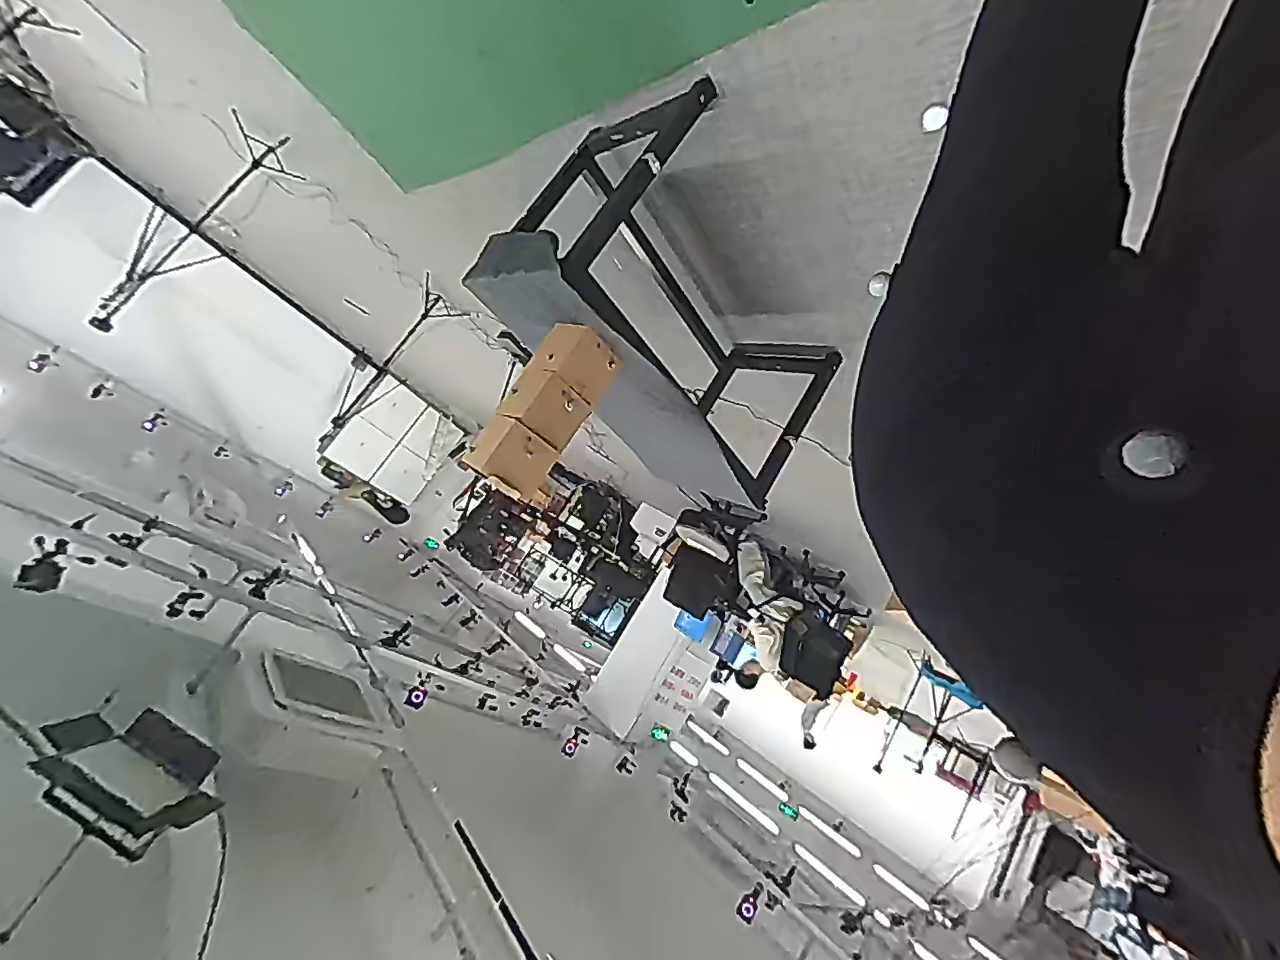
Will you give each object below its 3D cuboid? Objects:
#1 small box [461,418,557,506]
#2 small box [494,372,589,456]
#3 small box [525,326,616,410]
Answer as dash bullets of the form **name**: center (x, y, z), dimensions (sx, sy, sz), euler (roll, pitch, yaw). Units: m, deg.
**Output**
- **small box**: center (-0.360, -0.055, 1.496), dimensions (0.168, 0.176, 0.179), euler (38, 168, -35)
- **small box**: center (-0.276, -0.192, 1.535), dimensions (0.168, 0.176, 0.179), euler (40, 167, -38)
- **small box**: center (-0.193, -0.328, 1.568), dimensions (0.179, 0.176, 0.168), euler (23, 166, 47)
